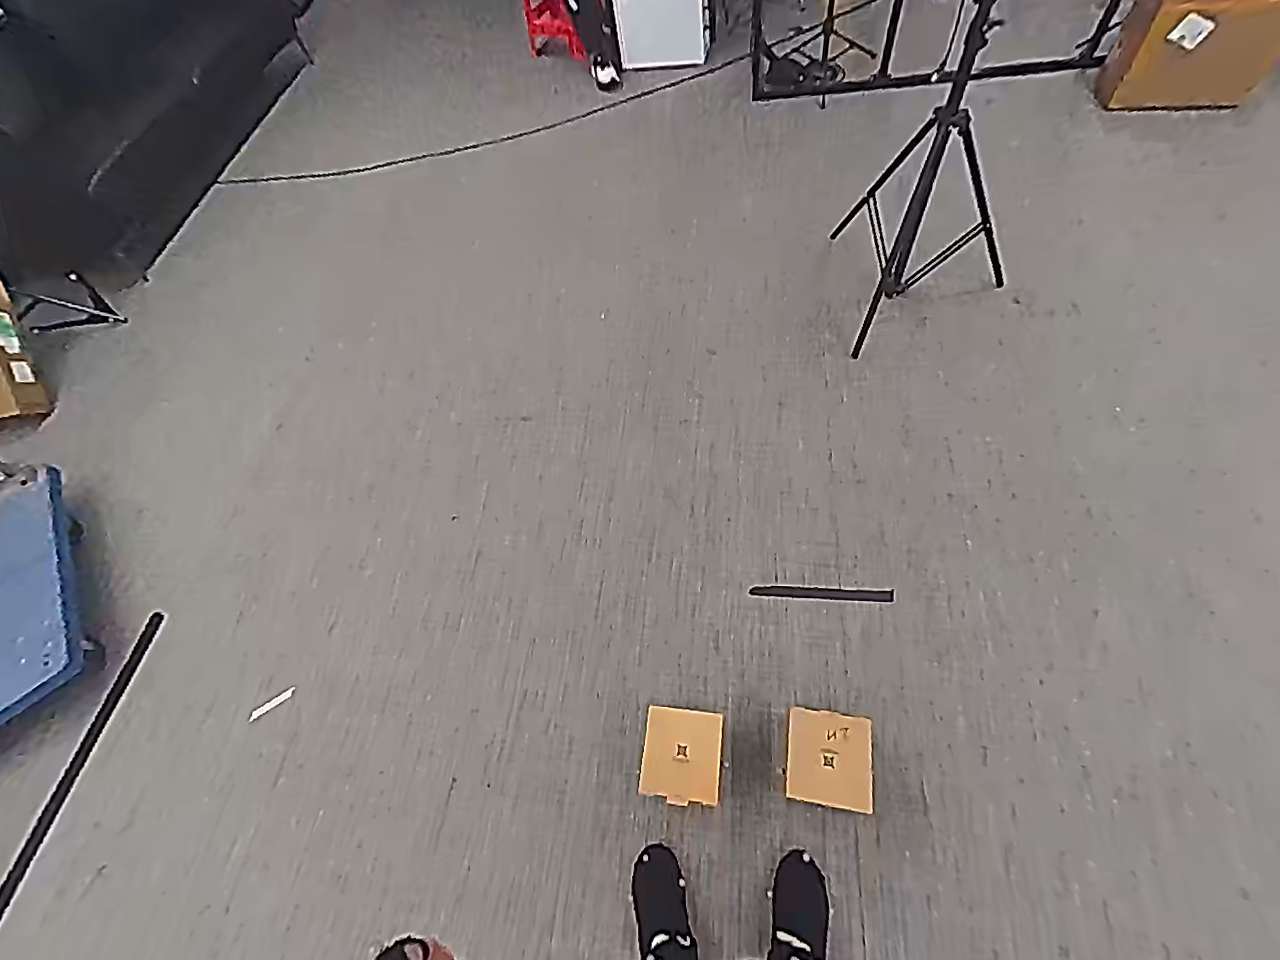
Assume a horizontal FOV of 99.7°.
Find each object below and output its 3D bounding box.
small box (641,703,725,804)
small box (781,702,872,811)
[{"bbox_3d":[0.103,0.613,1.213,0.168,0.176,0.179,2,62,11],"label":"small box"},{"bbox_3d":[0.398,0.597,1.169,0.168,0.176,0.179,5,62,12],"label":"small box"}]
